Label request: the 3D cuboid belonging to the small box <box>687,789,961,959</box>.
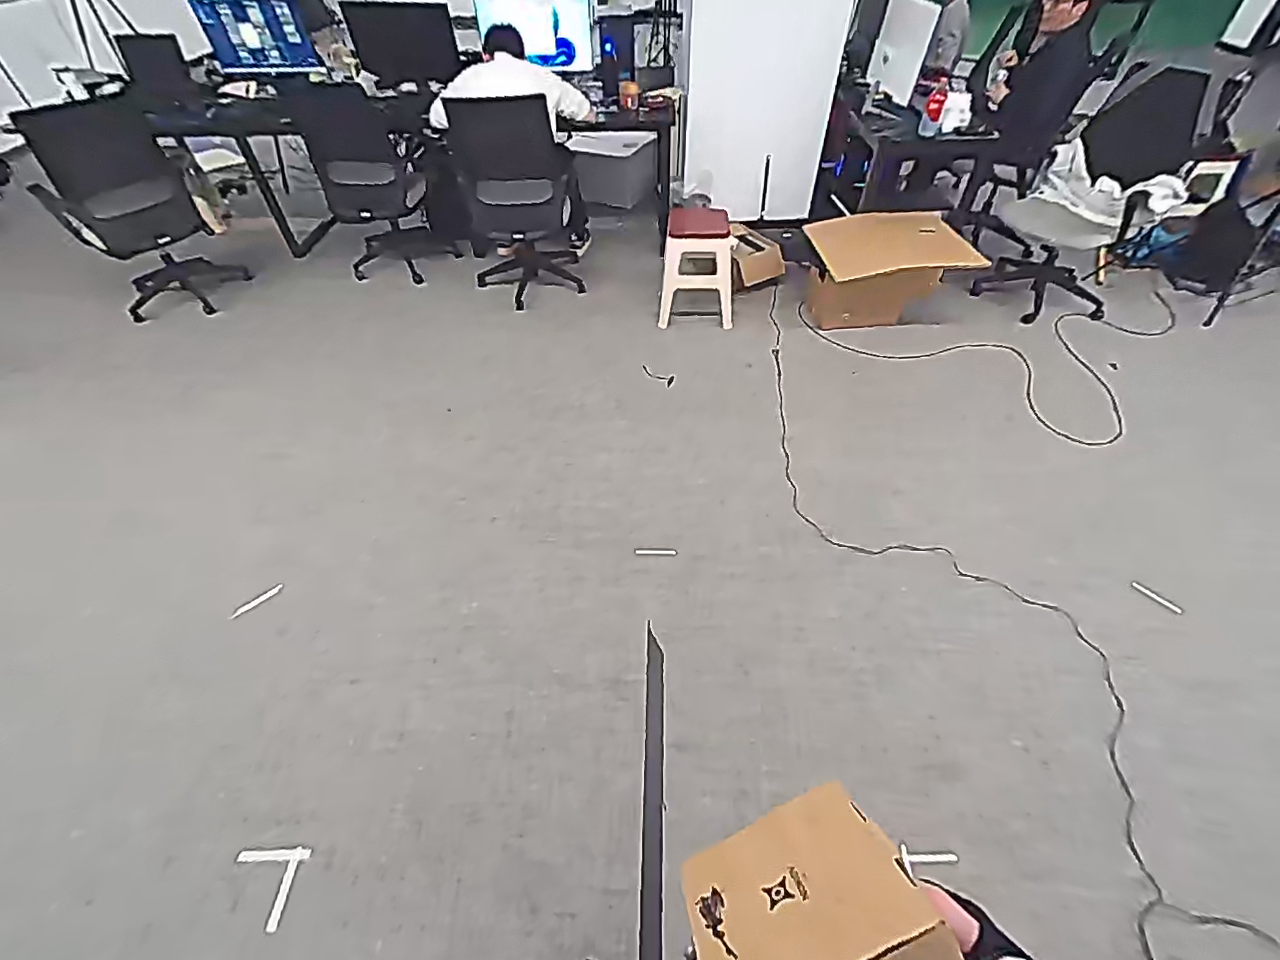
[{"bbox_3d":[0.163,0.417,0.456,0.179,0.168,0.176,-26,92,-4],"label":"small box"}]
